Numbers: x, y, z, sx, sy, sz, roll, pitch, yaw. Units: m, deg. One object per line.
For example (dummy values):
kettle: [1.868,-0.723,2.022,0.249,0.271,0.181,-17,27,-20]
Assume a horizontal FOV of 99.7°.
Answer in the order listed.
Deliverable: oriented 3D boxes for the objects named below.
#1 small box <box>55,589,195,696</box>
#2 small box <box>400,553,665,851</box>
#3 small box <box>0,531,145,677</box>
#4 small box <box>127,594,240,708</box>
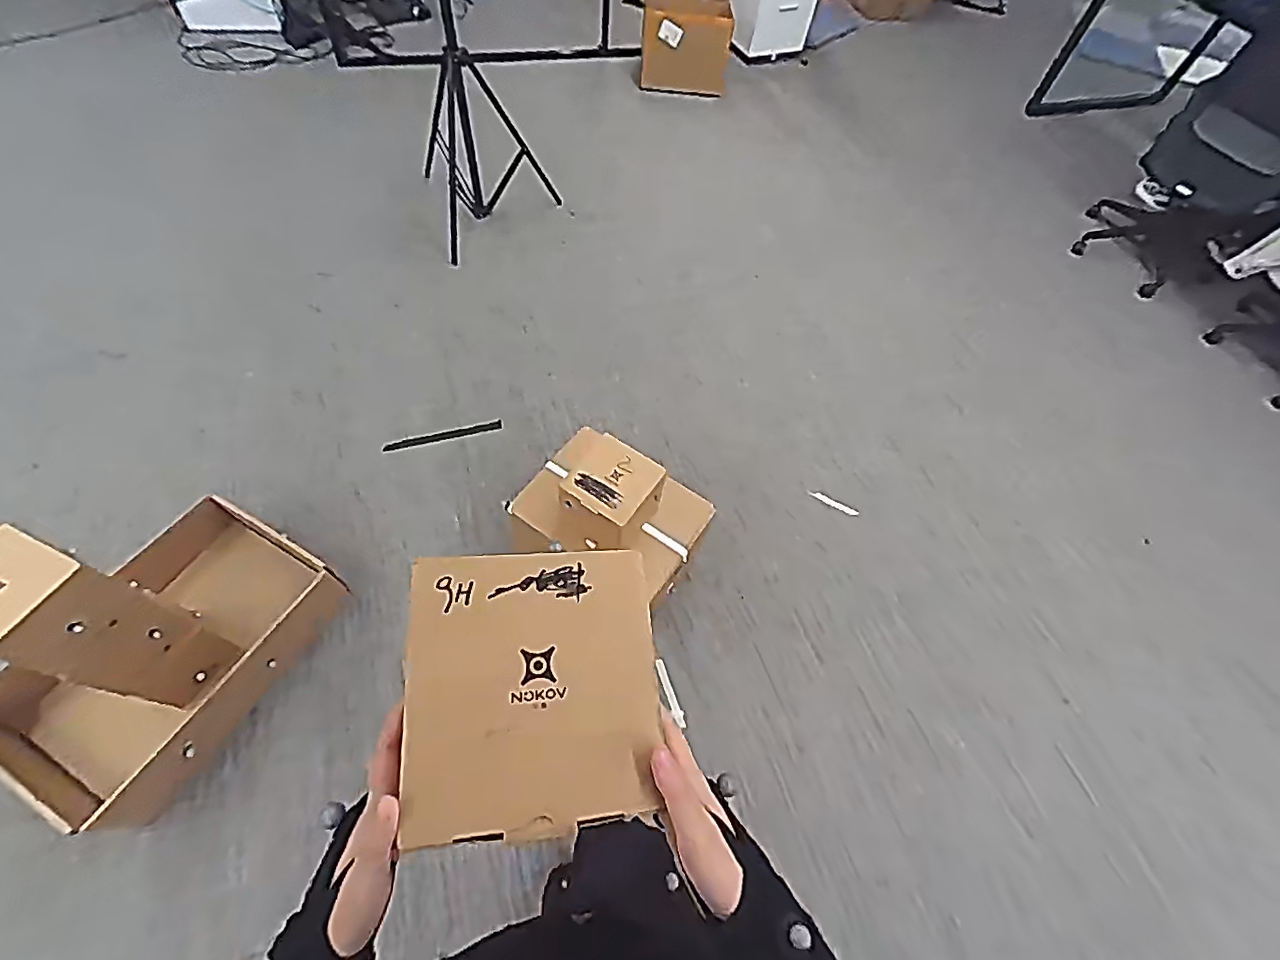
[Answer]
small box: [-1.053,0.310,1.073,0.179,0.176,0.168,23,58,9]
small box: [-0.086,0.167,0.436,0.168,0.176,0.179,-1,67,-14]
small box: [-1.035,0.222,0.934,0.179,0.176,0.168,24,58,8]
small box: [-1.064,0.390,1.213,0.179,0.176,0.168,28,60,10]
